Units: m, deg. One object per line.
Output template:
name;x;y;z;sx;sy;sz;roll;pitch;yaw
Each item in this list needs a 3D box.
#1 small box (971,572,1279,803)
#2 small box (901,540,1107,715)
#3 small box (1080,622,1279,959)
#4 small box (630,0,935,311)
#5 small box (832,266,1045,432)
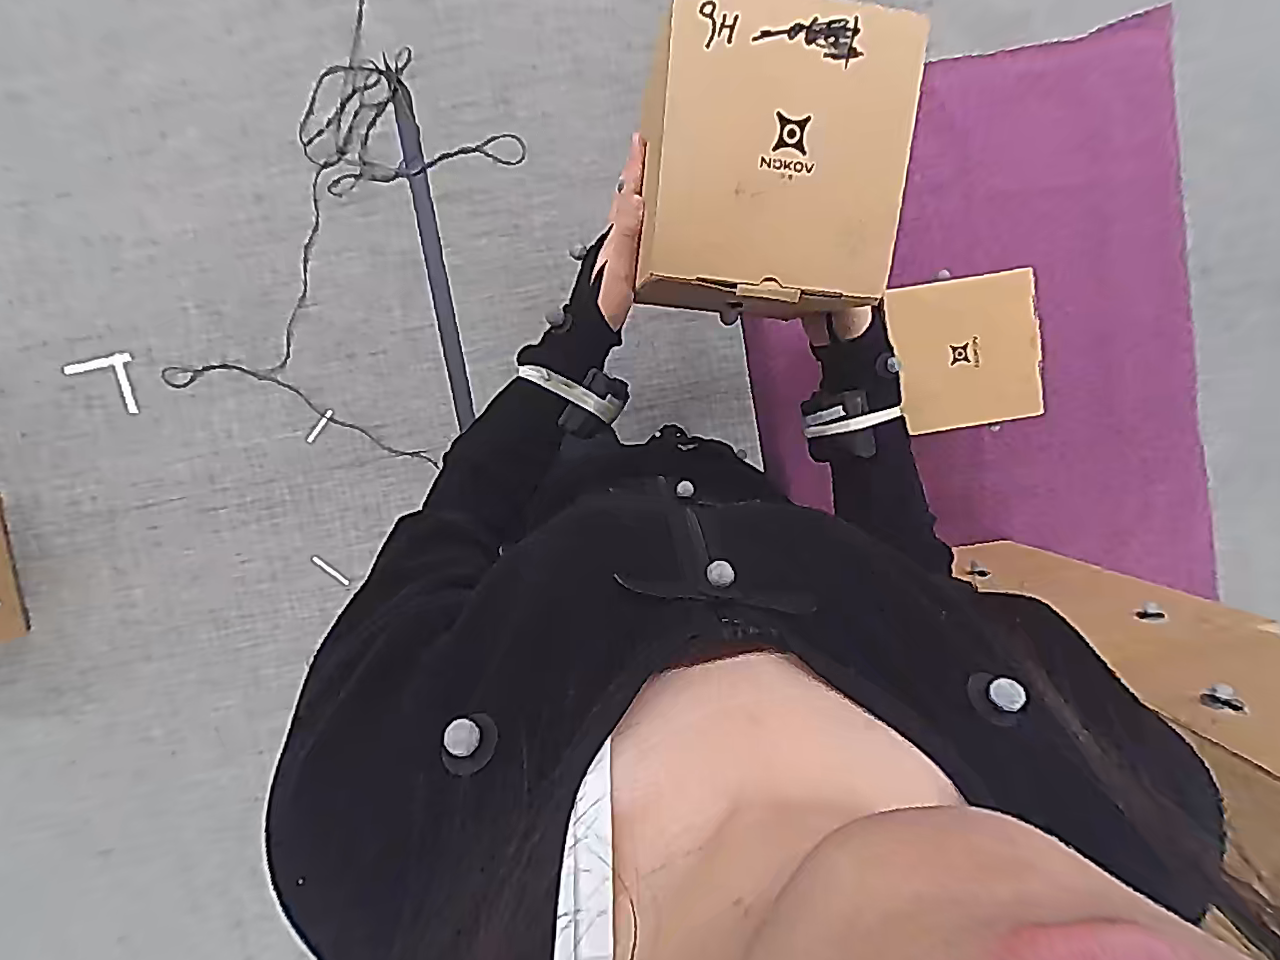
small box;0.480;0.202;0.556;0.179;0.176;0.168;-8;95;-1
small box;0.469;0.184;0.719;0.179;0.176;0.168;-8;96;-2
small box;0.466;0.222;0.395;0.179;0.176;0.168;-11;96;-2
small box;0.086;-0.231;0.420;0.168;0.176;0.179;3;103;-8
small box;0.359;-0.152;0.684;0.179;0.176;0.168;-10;96;-3
